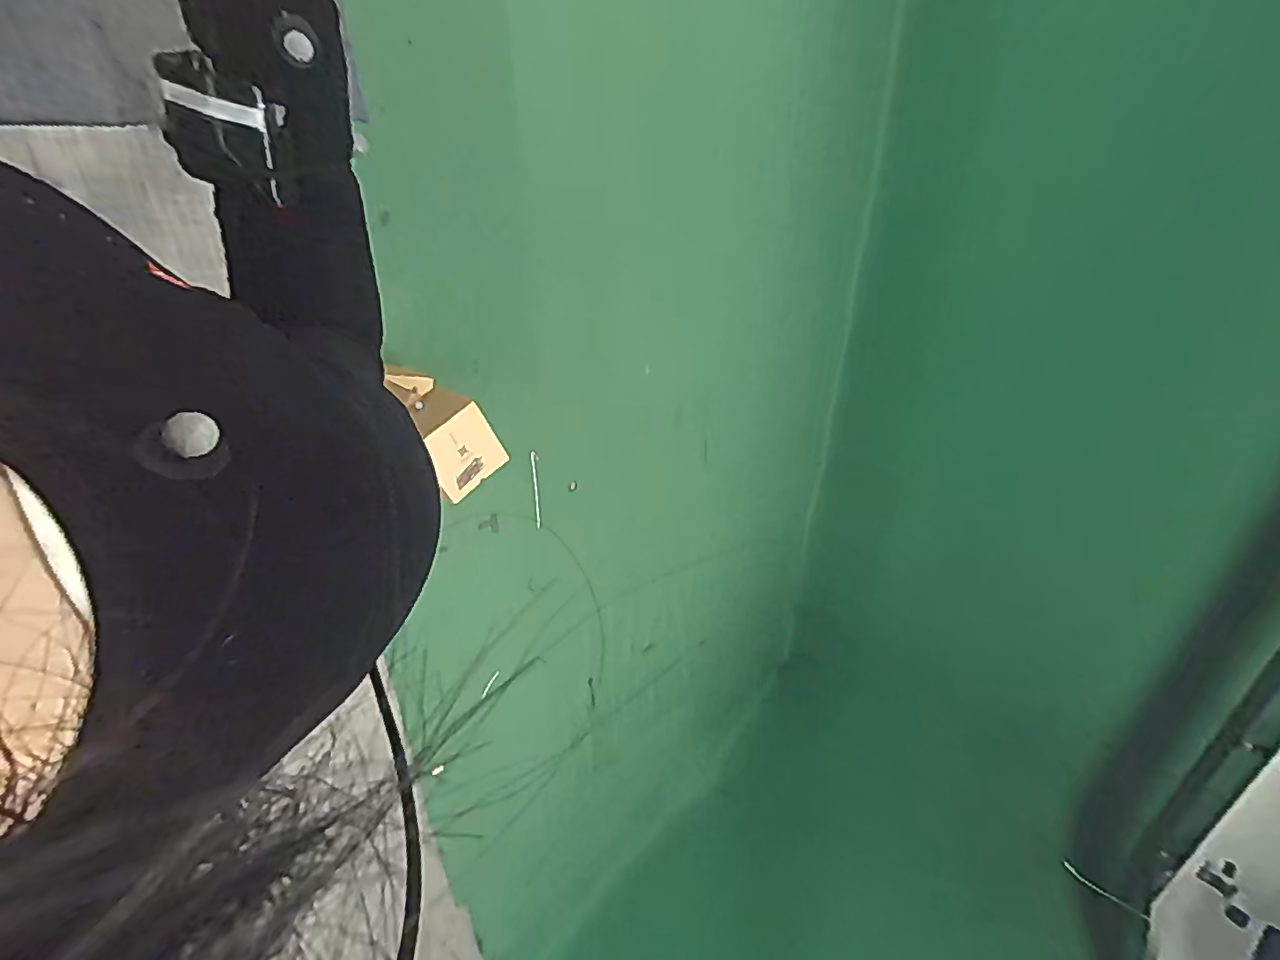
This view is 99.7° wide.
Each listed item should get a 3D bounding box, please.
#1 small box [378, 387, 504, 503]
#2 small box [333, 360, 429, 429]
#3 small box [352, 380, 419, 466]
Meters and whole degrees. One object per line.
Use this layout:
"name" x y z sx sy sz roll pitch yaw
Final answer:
"small box" -0.447 -0.084 1.218 0.168 0.176 0.179 -45 137 -23
"small box" -0.679 -0.214 1.410 0.179 0.176 0.168 -6 114 -48
"small box" -0.566 -0.131 1.322 0.179 0.176 0.168 26 90 -53
